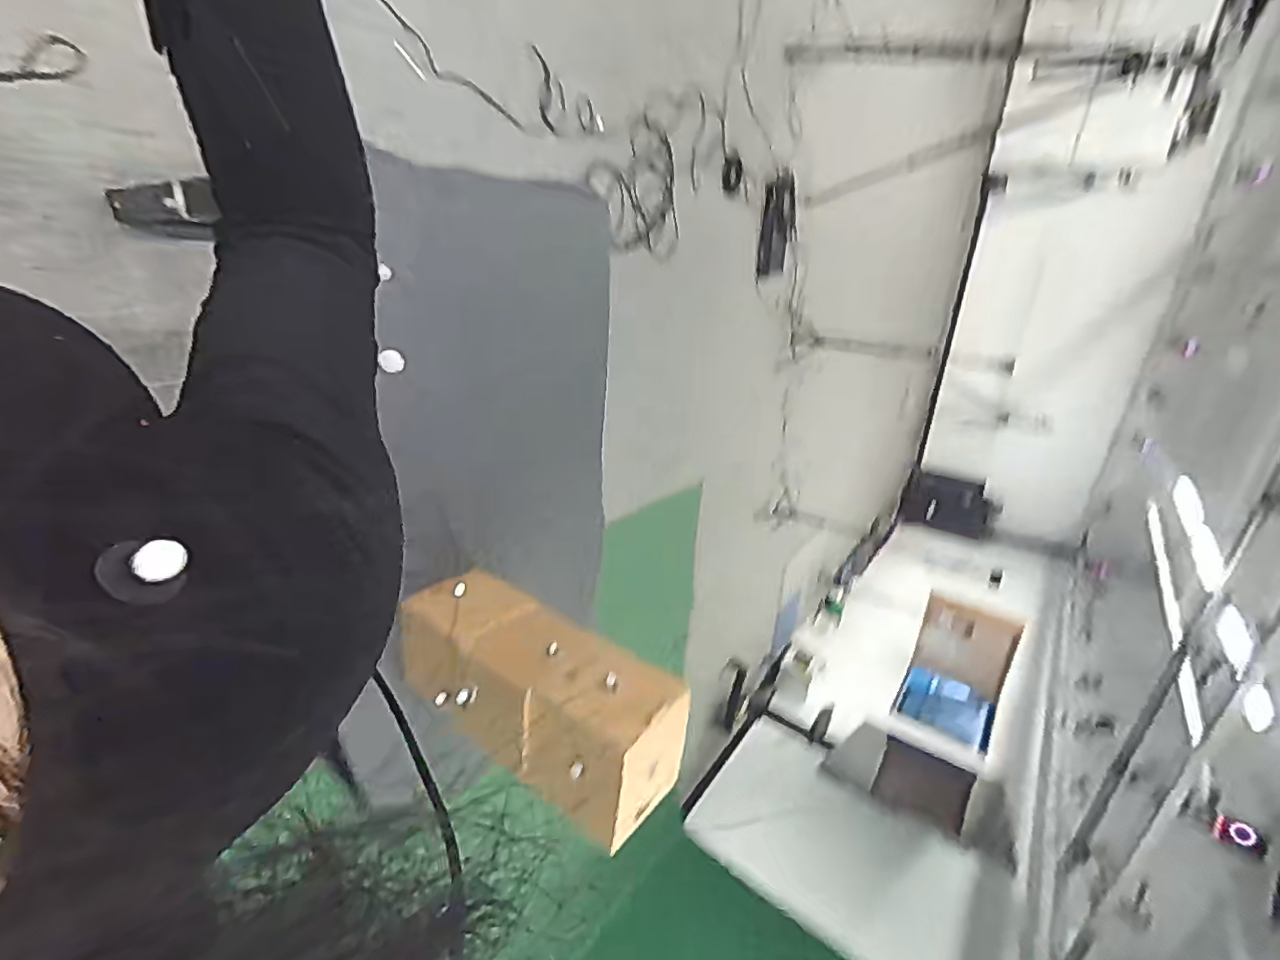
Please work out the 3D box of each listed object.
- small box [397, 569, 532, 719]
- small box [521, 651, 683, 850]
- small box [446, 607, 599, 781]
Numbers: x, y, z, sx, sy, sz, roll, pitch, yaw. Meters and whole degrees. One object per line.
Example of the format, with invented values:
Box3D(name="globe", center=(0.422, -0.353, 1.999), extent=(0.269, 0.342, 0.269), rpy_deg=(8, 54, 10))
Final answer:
Box3D(name="small box", center=(-0.315, 0.287, 0.972), extent=(0.168, 0.176, 0.179), rpy_deg=(-20, 121, -51))
Box3D(name="small box", center=(-0.057, 0.375, 0.793), extent=(0.168, 0.176, 0.179), rpy_deg=(-15, 116, -53))
Box3D(name="small box", center=(-0.190, 0.331, 0.879), extent=(0.179, 0.176, 0.168), rpy_deg=(-16, 117, -51))
